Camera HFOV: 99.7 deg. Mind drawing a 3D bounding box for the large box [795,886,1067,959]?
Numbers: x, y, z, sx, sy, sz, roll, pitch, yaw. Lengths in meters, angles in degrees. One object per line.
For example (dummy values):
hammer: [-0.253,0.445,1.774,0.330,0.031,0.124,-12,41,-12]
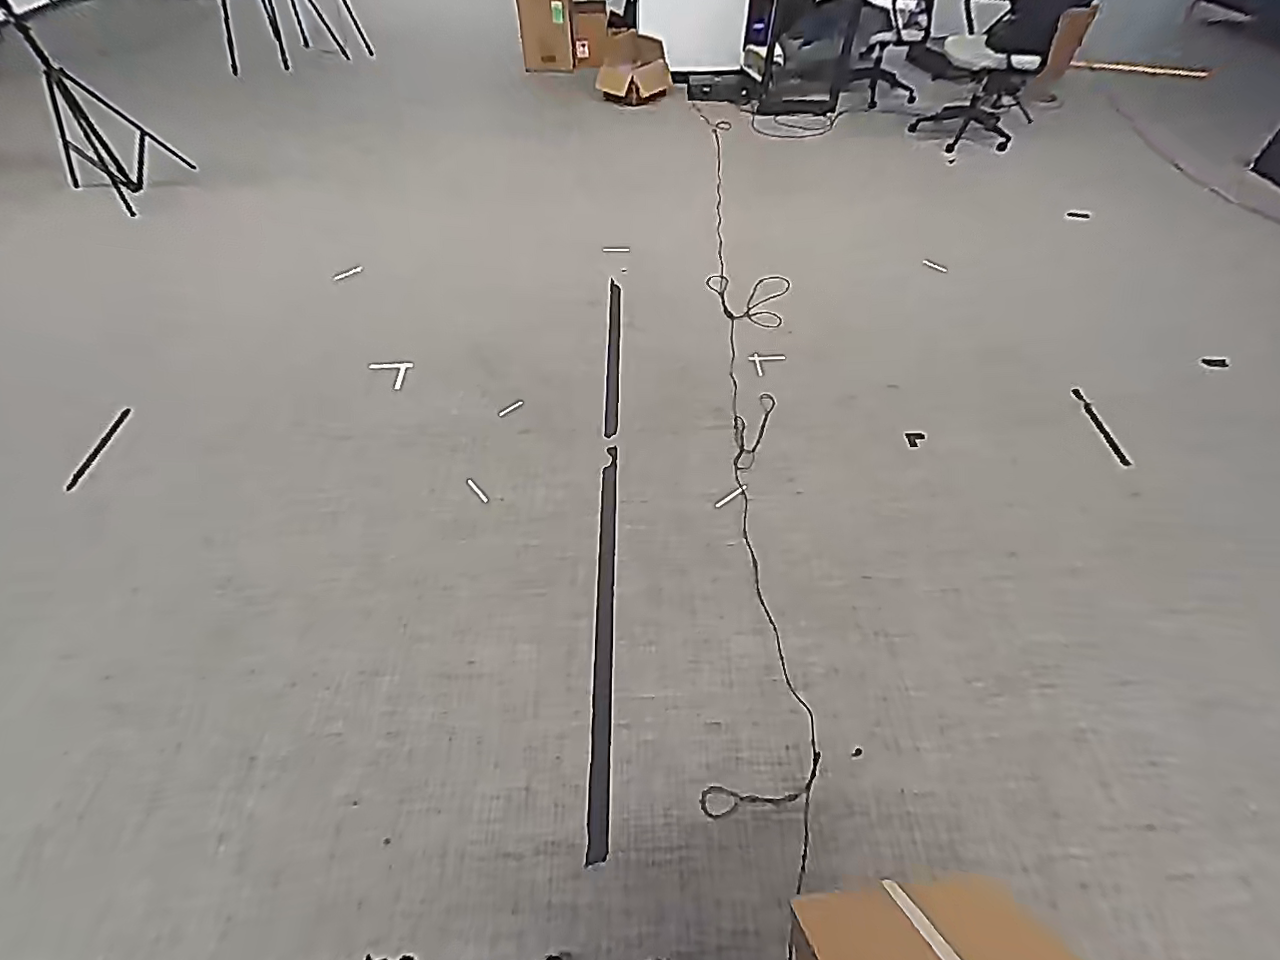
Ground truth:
large box: [0.405,0.759,0.608,0.320,0.408,0.320,-5,84,-4]
